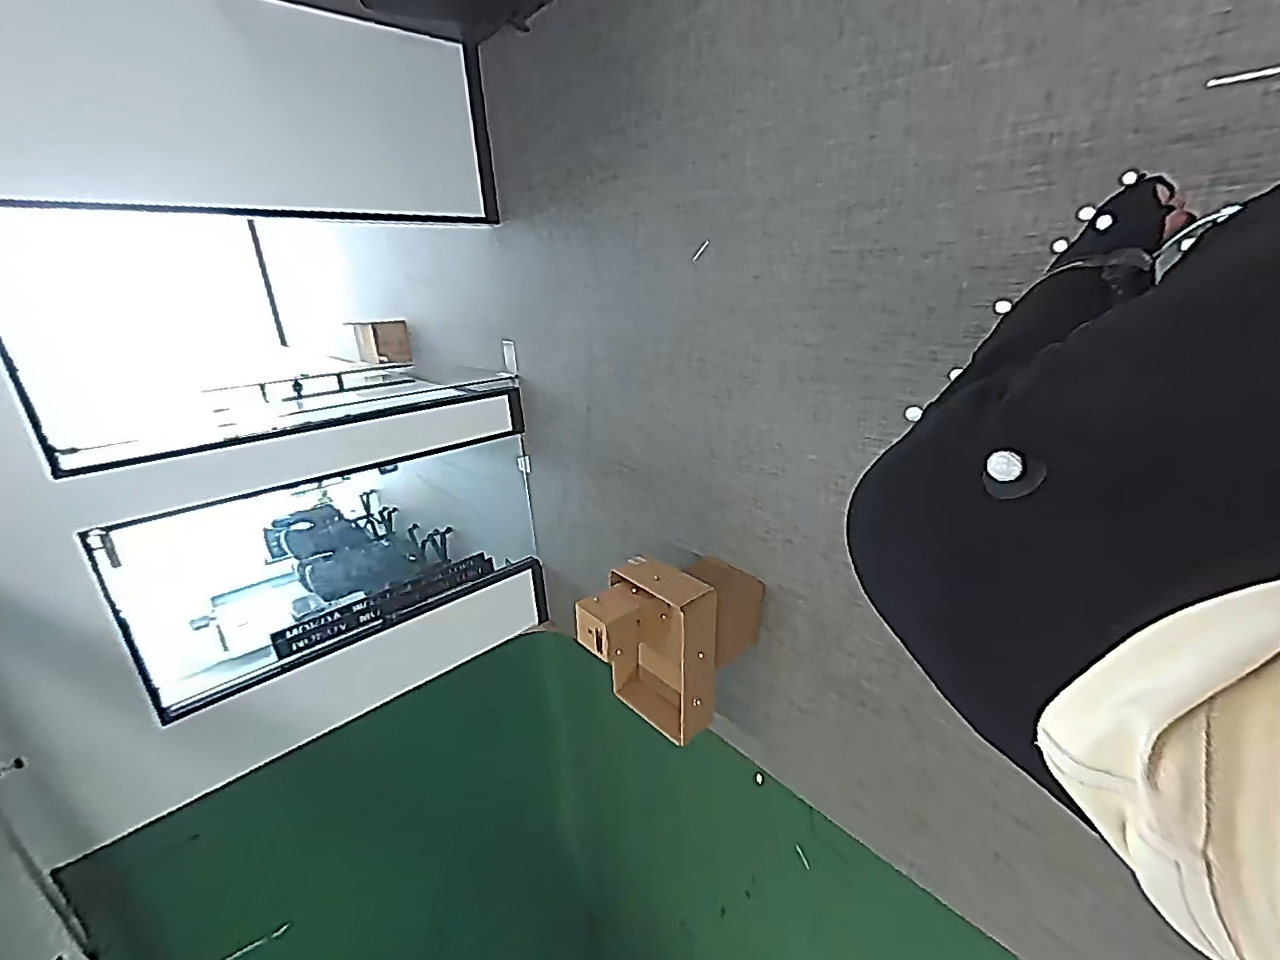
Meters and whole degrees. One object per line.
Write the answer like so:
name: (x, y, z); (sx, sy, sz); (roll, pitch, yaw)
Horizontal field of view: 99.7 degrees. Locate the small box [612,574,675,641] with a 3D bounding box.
small box: (0.010, 0.479, 2.065); (0.179, 0.176, 0.168); (21, 119, 43)
